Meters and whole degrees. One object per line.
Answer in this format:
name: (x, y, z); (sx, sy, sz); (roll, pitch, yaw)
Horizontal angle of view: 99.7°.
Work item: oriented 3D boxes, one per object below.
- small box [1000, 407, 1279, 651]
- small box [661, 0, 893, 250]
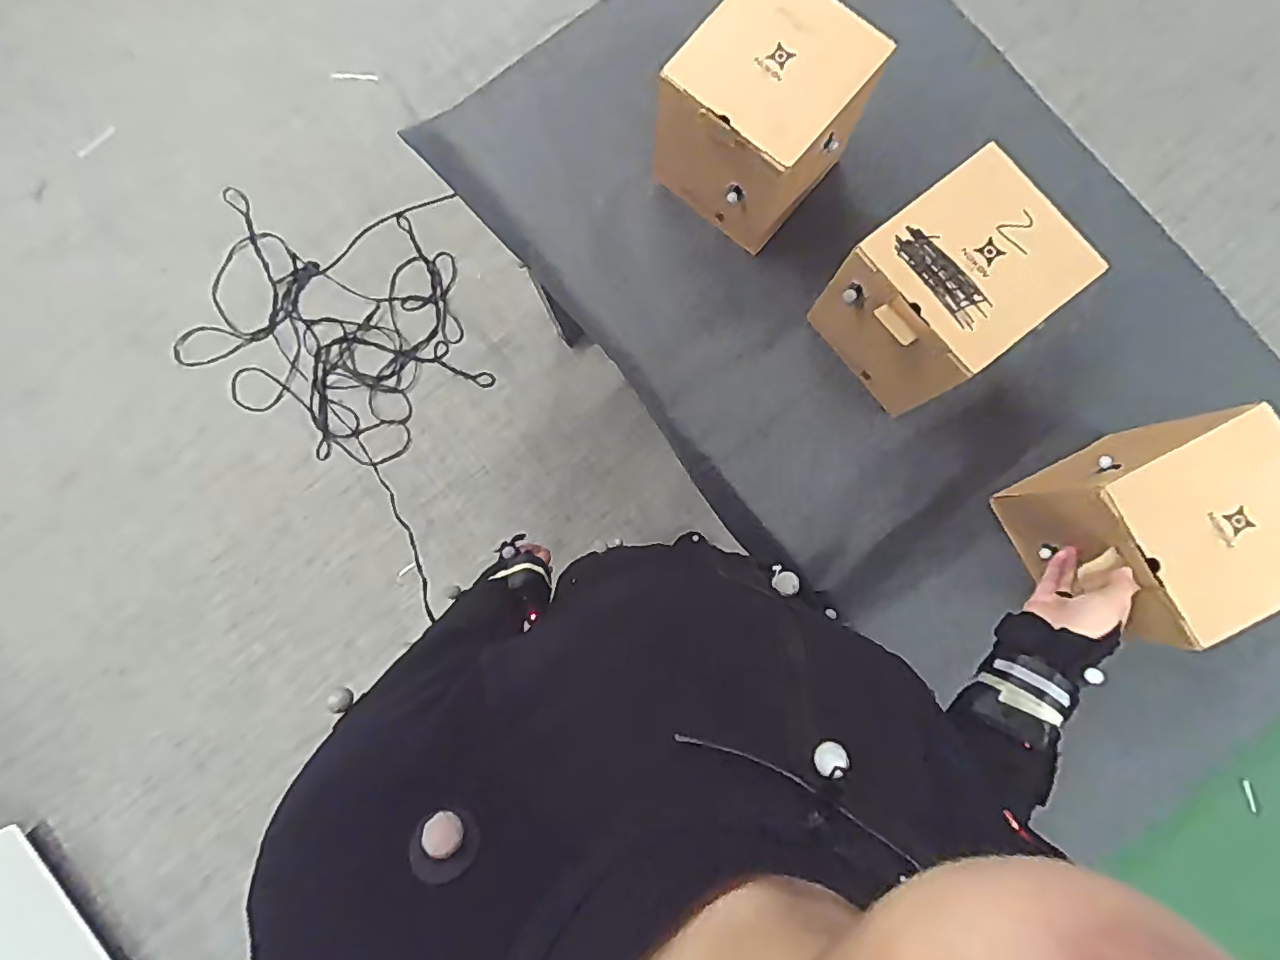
small box: (0.533, 0.048, 0.560); (0.179, 0.176, 0.168); (-28, 84, -1)
small box: (0.140, -0.407, 0.619); (0.168, 0.176, 0.179); (40, 85, 4)
